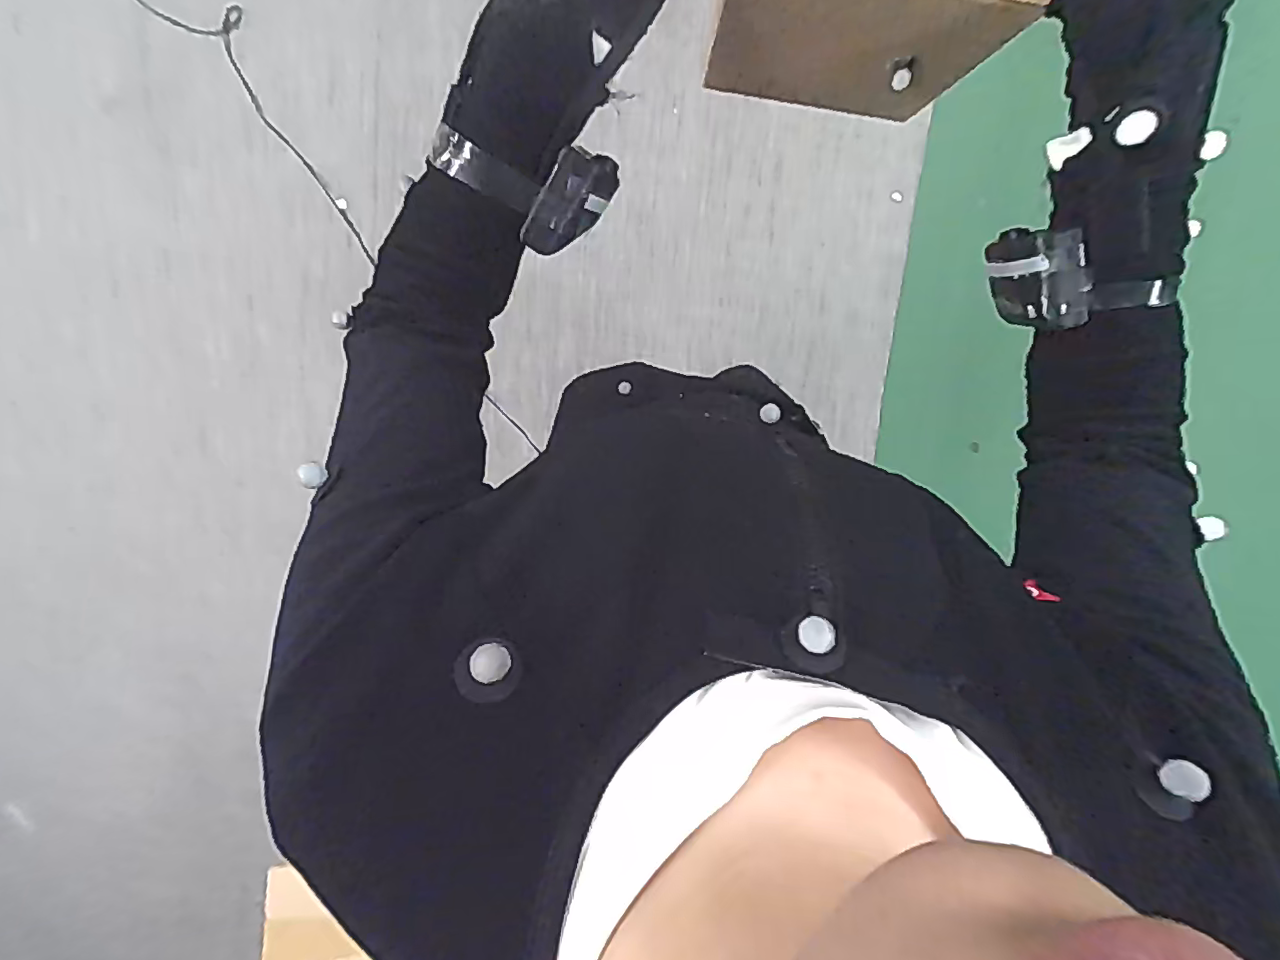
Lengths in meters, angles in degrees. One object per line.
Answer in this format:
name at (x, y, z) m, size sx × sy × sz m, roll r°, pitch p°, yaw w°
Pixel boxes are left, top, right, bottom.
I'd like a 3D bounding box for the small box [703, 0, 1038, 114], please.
small box at (0.146, -0.369, 0.353) m, size 0.179 × 0.176 × 0.168 m, roll 7°, pitch 103°, yaw -1°
